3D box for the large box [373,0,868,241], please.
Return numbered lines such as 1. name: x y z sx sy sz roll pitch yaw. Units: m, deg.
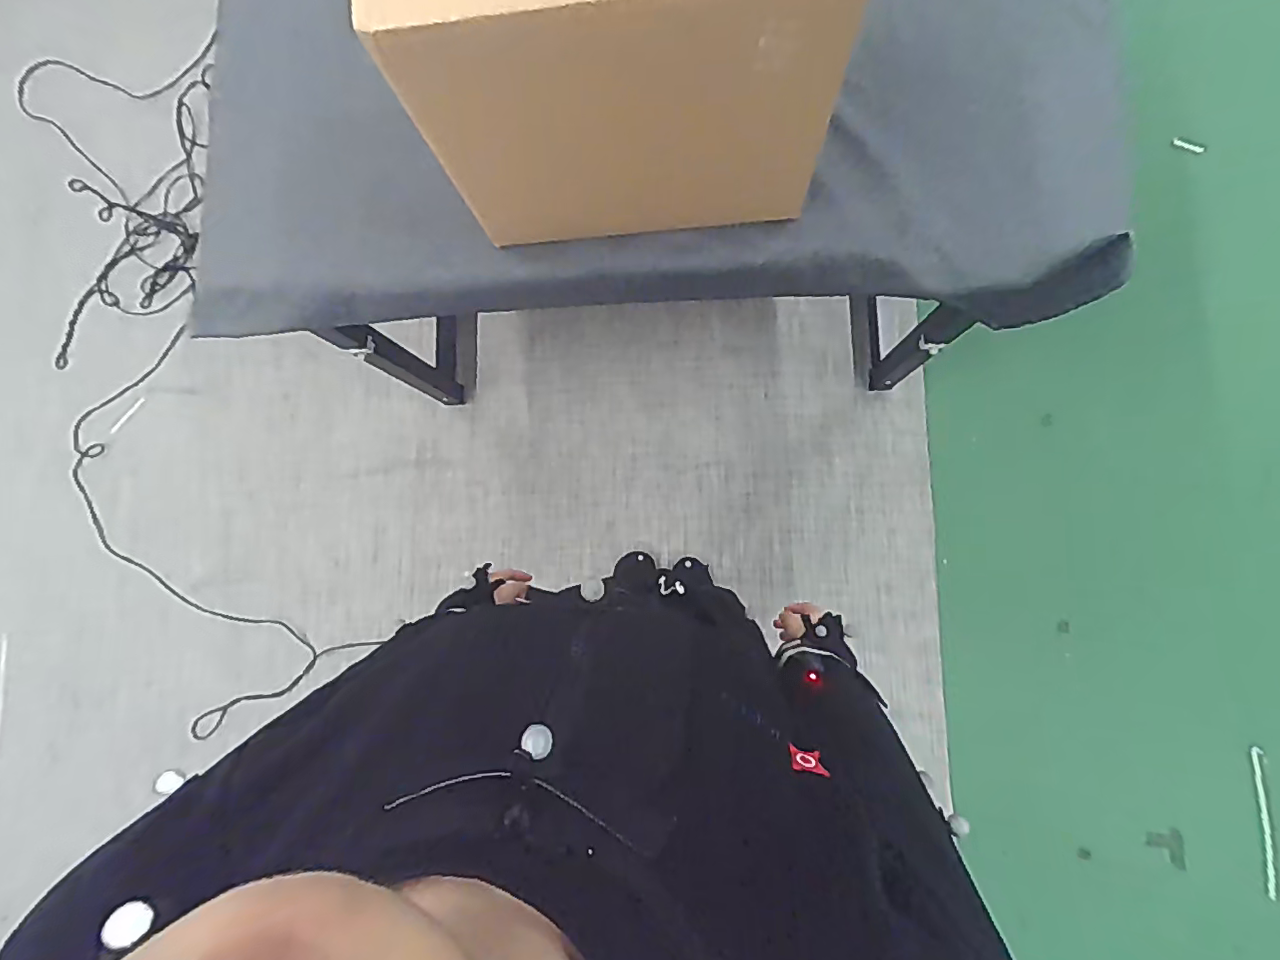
1. large box: -0.015 -0.498 0.581 0.408 0.320 0.320 -4 83 4
